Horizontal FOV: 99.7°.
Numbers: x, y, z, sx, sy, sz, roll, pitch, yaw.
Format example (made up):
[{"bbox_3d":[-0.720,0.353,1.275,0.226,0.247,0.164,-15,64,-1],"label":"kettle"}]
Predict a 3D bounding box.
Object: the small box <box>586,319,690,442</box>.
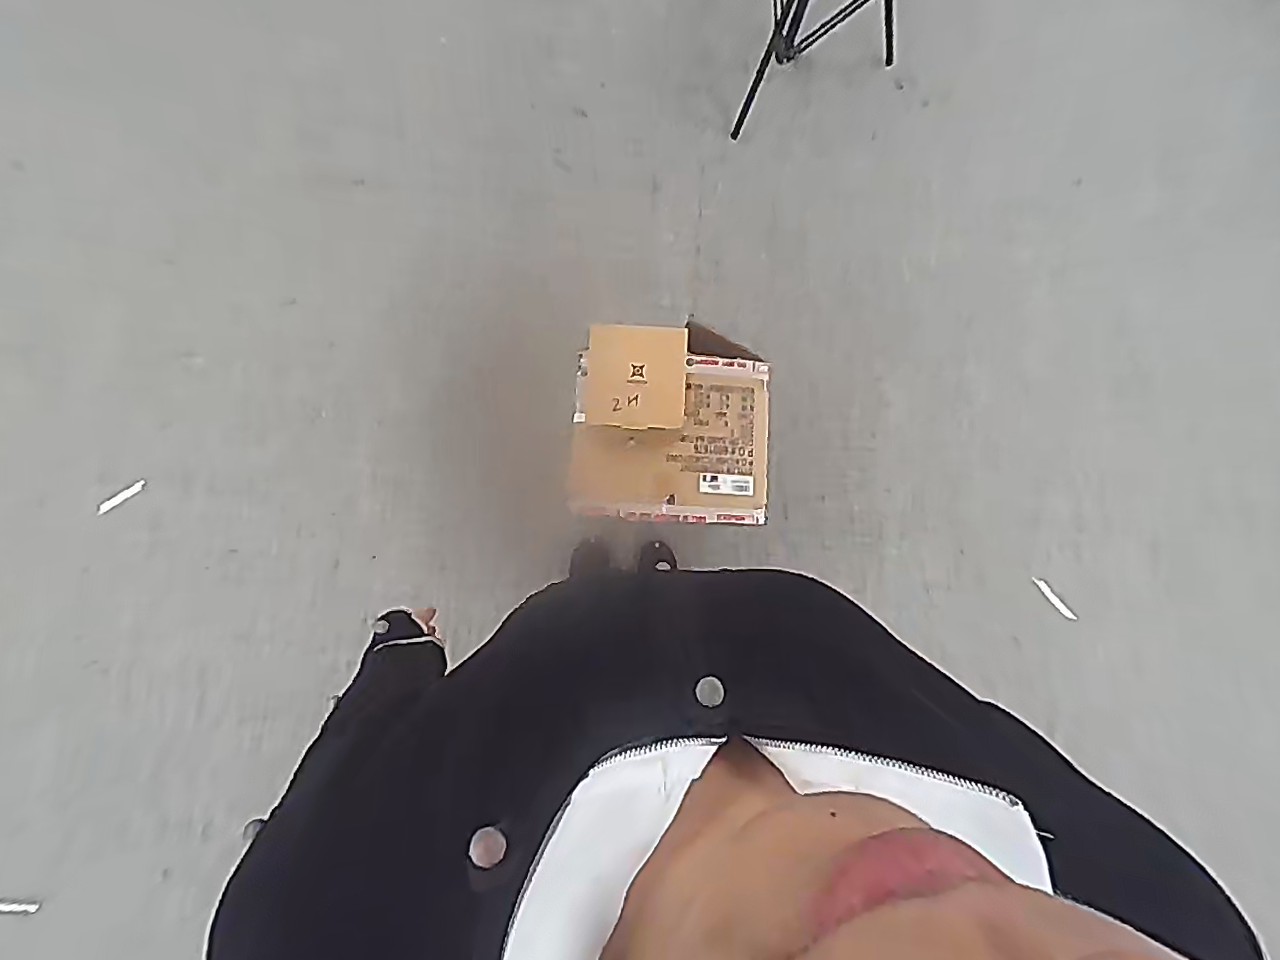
[{"bbox_3d":[-0.006,-0.172,0.975,0.168,0.176,0.179,3,86,-1],"label":"small box"}]
